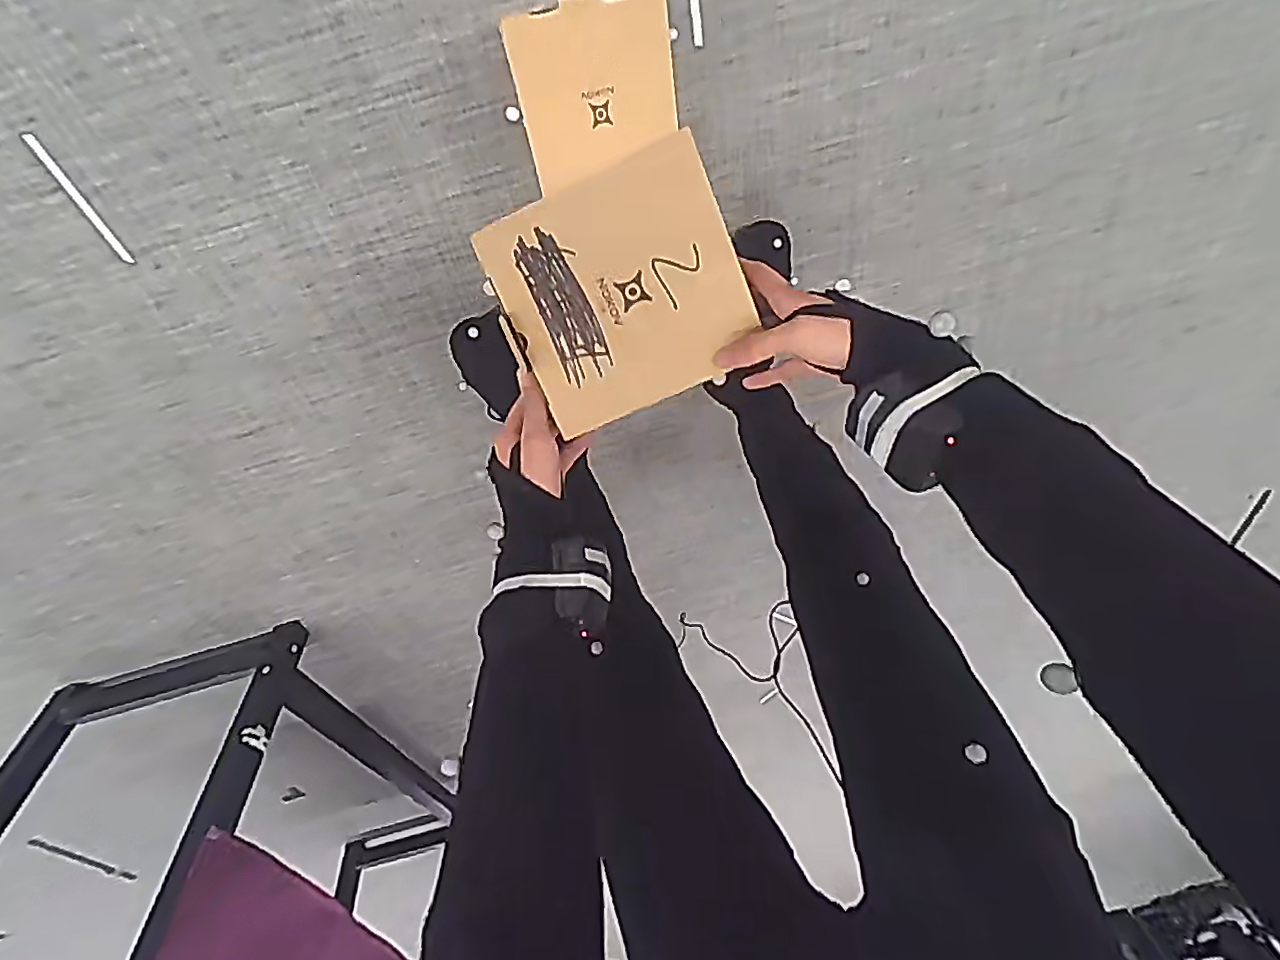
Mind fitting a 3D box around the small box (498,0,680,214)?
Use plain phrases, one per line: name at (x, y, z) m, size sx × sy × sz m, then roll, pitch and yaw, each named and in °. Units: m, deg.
small box at (-0.056, -0.440, 0.634) m, size 0.168 × 0.176 × 0.179 m, roll -13°, pitch 129°, yaw -1°
